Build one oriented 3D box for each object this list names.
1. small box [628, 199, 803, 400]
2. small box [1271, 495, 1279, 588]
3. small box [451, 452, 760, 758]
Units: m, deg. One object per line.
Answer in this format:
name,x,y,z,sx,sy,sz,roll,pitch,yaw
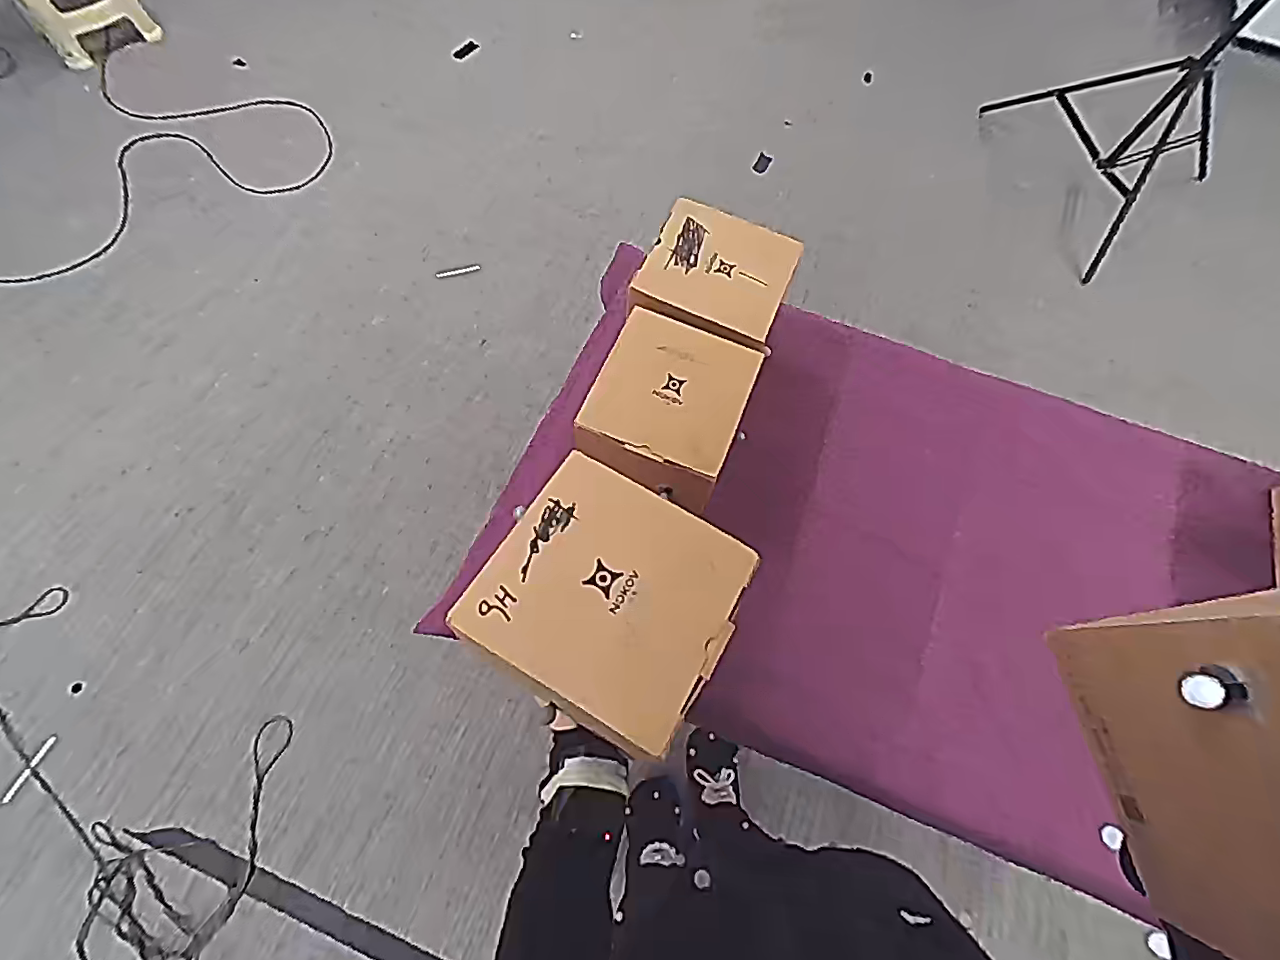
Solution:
small box,0.091,-0.236,0.741,0.179,0.176,0.168,24,70,4
small box,0.954,0.081,0.669,0.179,0.176,0.168,23,69,5
small box,-0.028,0.113,0.469,0.179,0.176,0.168,30,63,7
